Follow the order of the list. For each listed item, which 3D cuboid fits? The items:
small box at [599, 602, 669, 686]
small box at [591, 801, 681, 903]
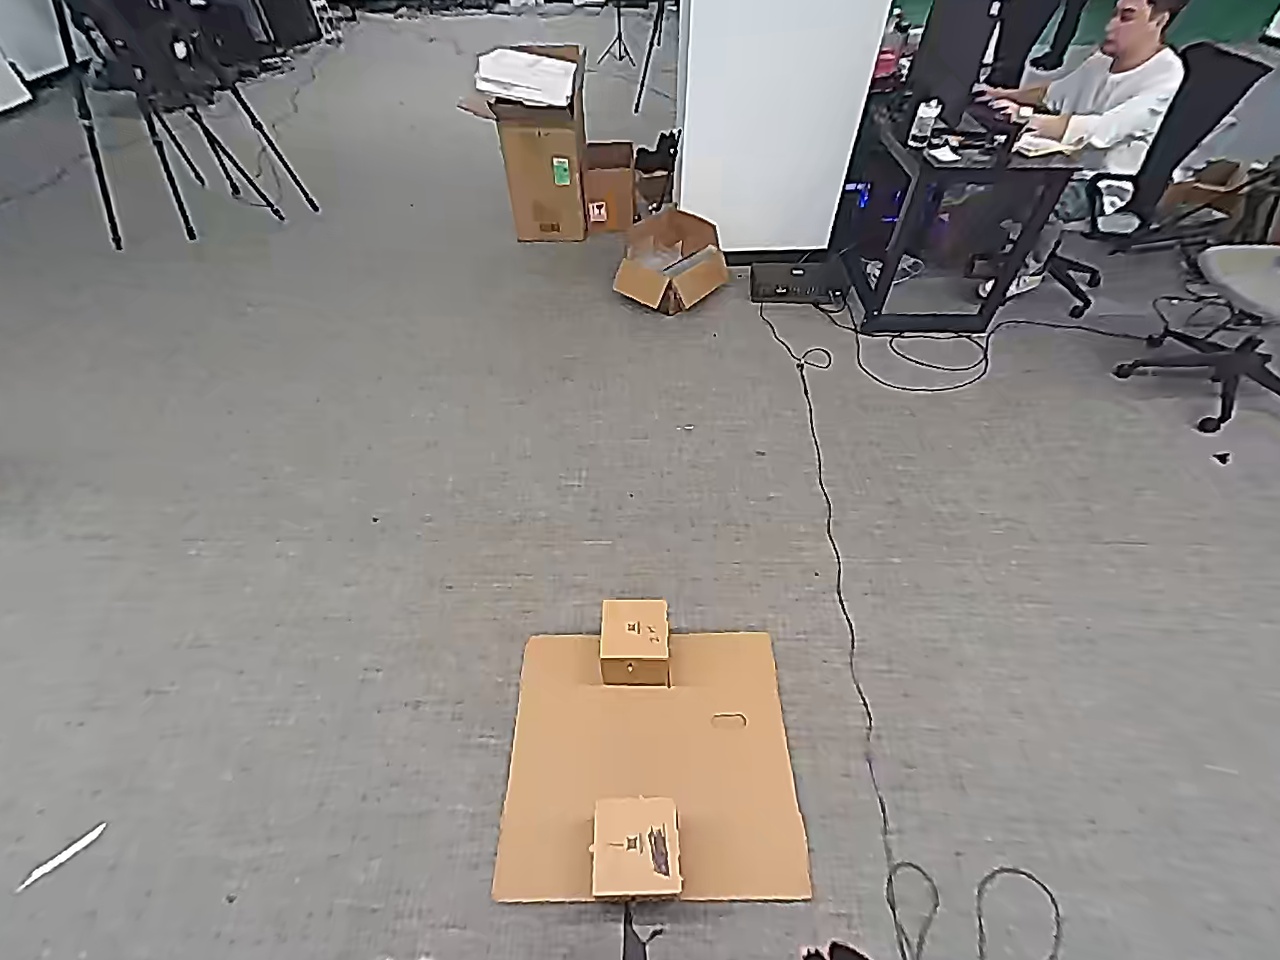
[{"bbox_3d":[-0.012,0.445,1.458,0.179,0.176,0.168,2,49,0],"label":"small box"},{"bbox_3d":[-0.009,0.794,1.154,0.179,0.176,0.168,-1,49,0],"label":"small box"}]
